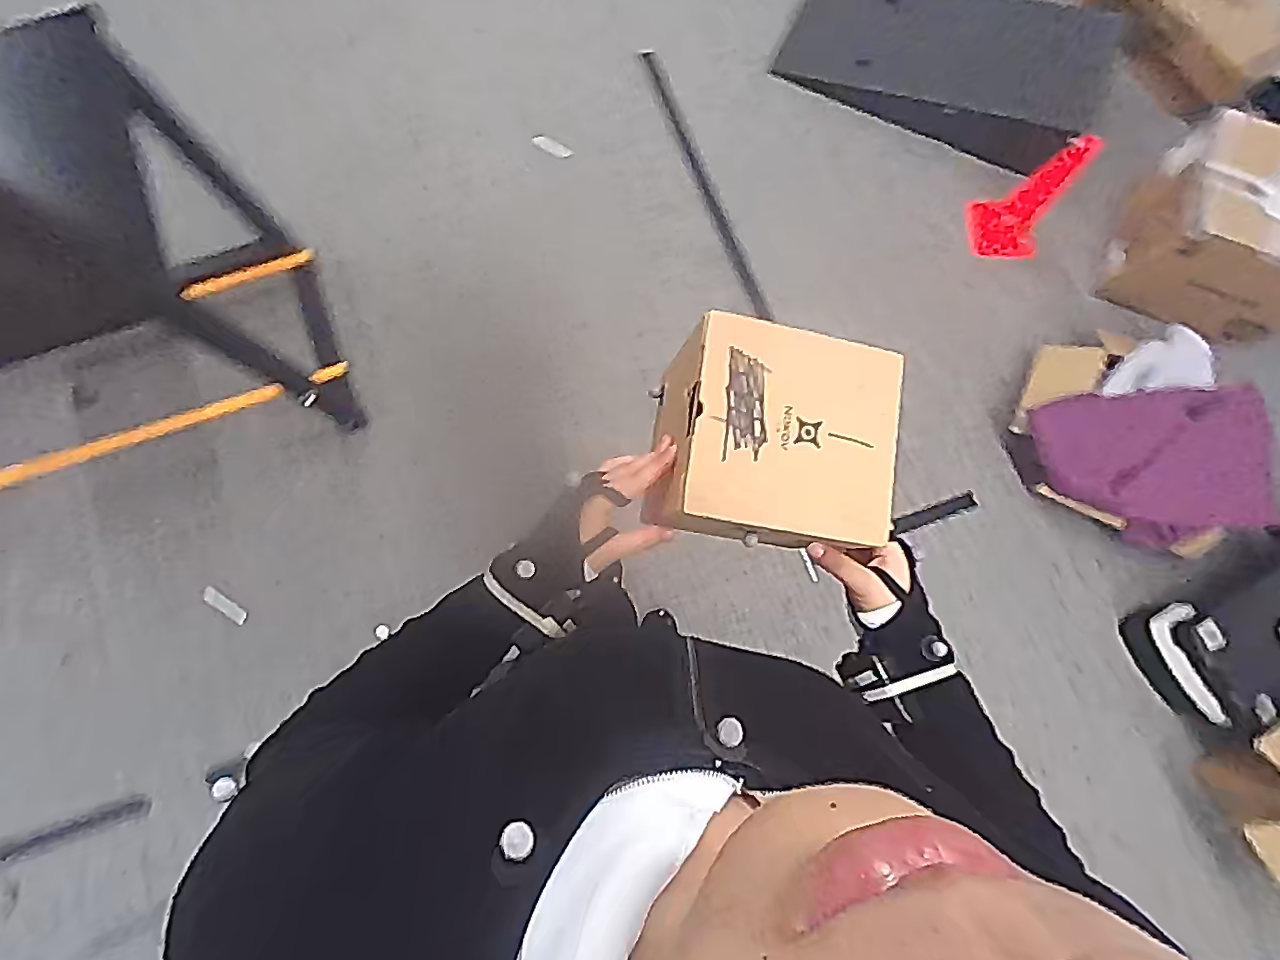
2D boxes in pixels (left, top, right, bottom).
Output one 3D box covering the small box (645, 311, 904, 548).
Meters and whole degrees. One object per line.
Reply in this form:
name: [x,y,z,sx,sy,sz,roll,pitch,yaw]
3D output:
small box: [0.108,-0.029,0.497,0.179,0.176,0.168,9,81,-10]
